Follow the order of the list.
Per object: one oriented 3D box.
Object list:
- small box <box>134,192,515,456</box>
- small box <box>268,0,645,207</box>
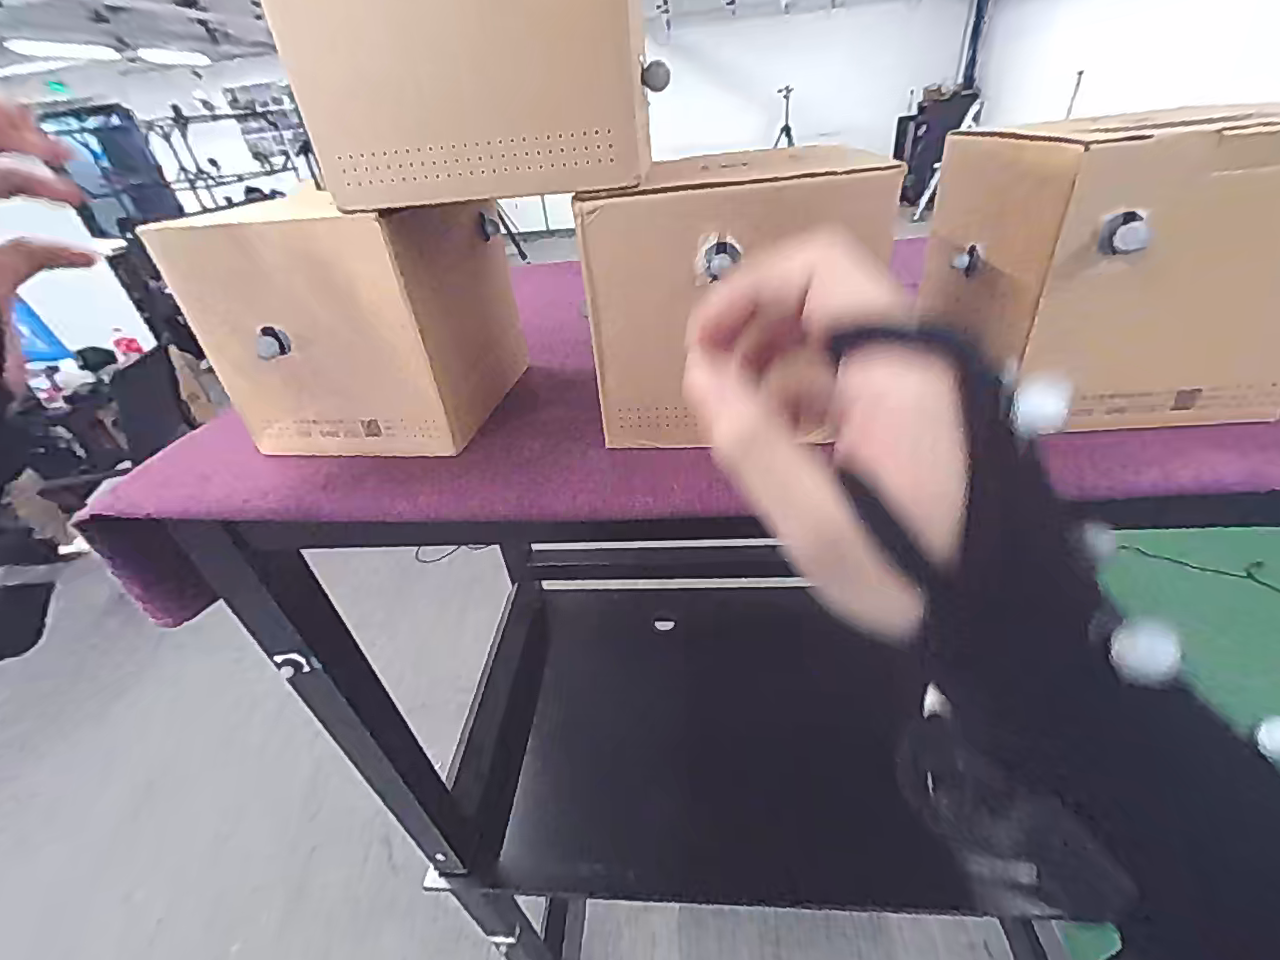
[{"bbox_3d":[-0.214,-0.129,0.431,0.168,0.176,0.179,1,34,9],"label":"small box"},{"bbox_3d":[-0.094,-0.267,0.319,0.179,0.176,0.168,-2,34,5],"label":"small box"}]
